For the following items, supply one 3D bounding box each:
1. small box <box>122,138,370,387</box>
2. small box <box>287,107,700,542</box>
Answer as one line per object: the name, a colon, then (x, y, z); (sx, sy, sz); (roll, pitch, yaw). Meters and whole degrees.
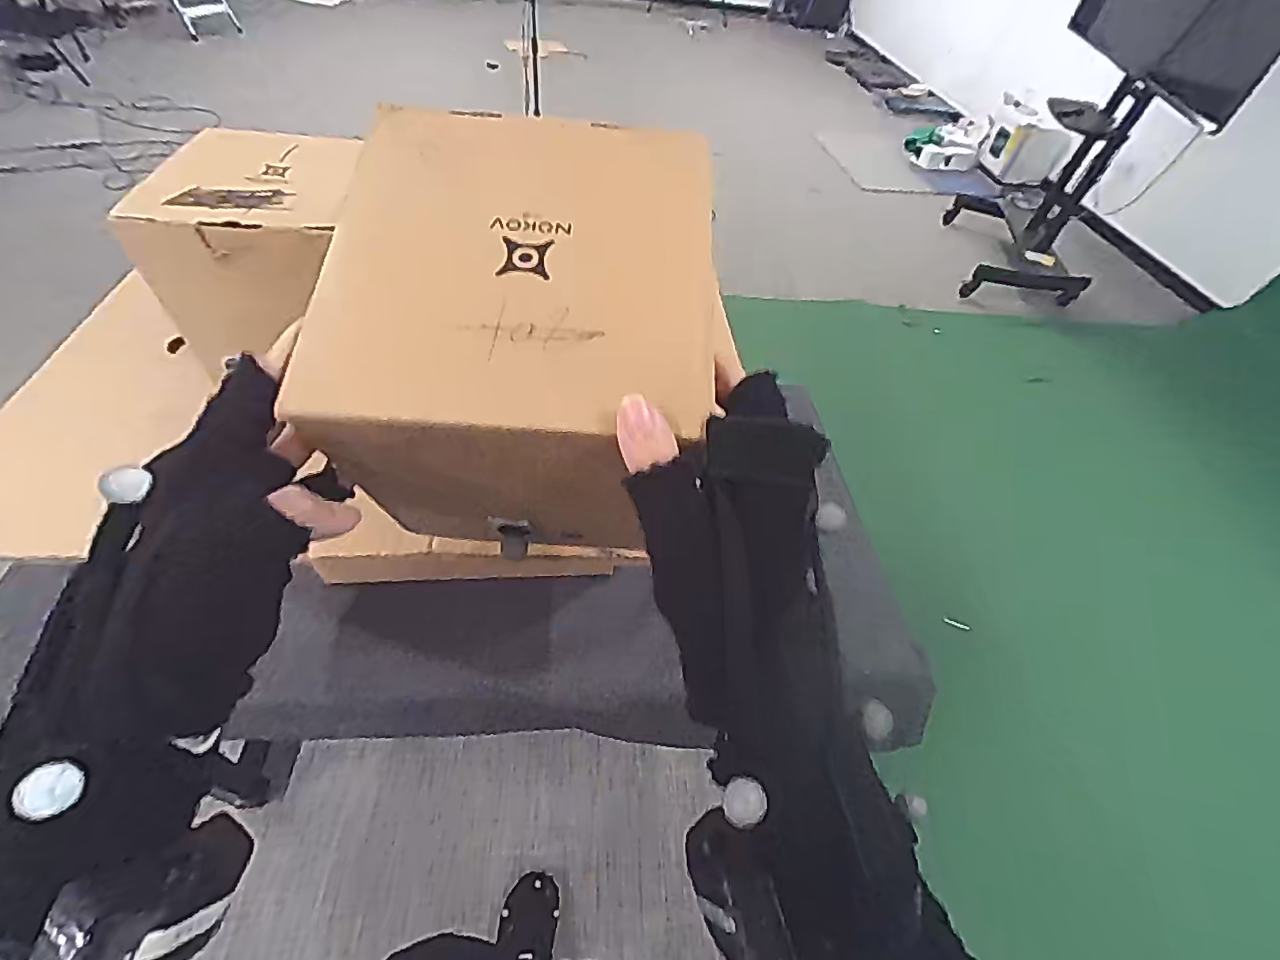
small box: (-0.316, -0.201, 0.522); (0.168, 0.176, 0.179); (1, 50, -6)
small box: (-0.060, -0.075, 0.322); (0.168, 0.176, 0.179); (4, 68, -2)
